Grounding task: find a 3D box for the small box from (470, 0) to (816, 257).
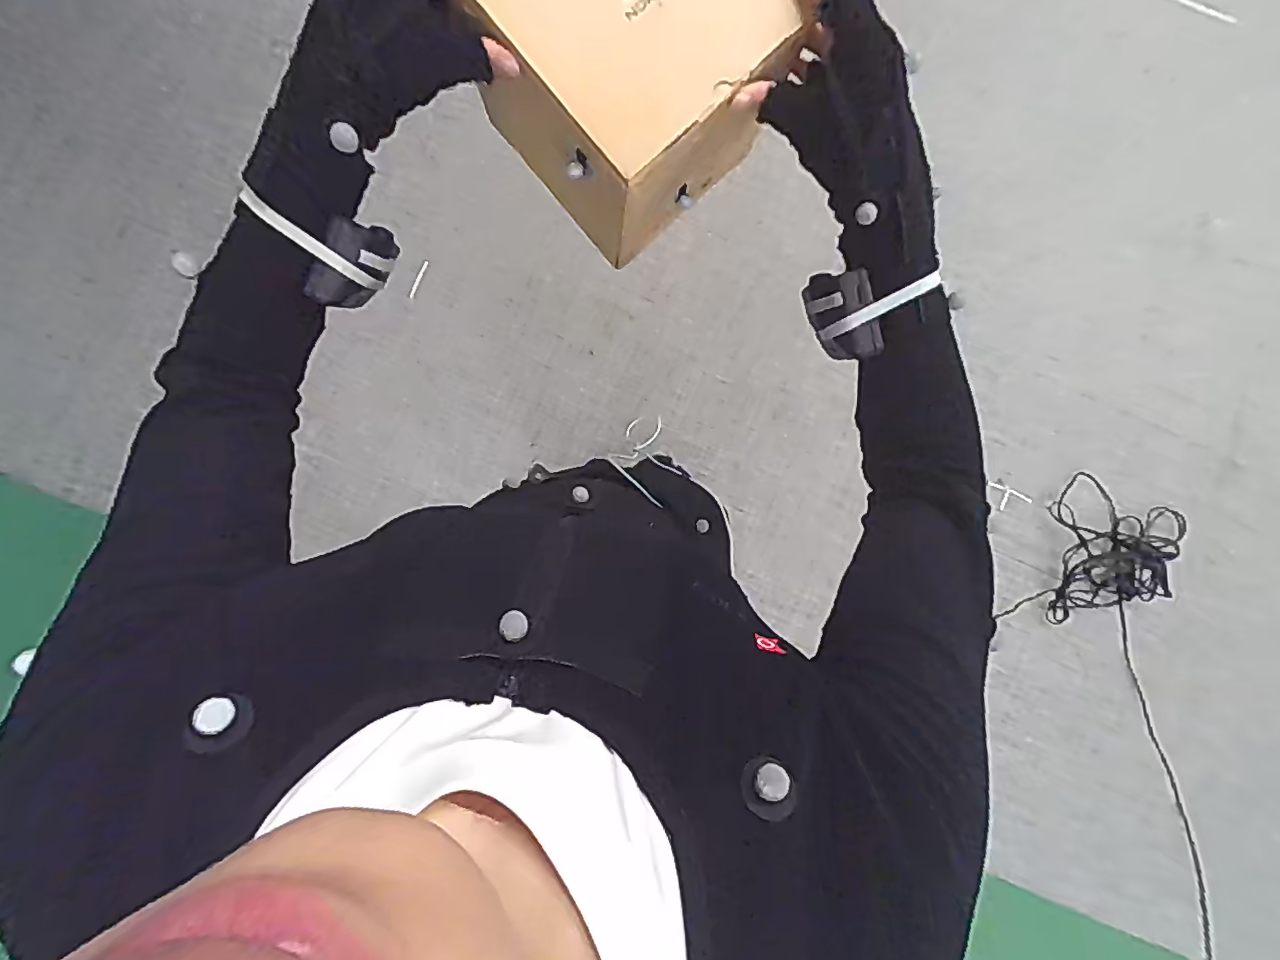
[{"bbox_3d":[-0.009,-0.310,0.416,0.168,0.176,0.179,-42,97,-1],"label":"small box"}]
